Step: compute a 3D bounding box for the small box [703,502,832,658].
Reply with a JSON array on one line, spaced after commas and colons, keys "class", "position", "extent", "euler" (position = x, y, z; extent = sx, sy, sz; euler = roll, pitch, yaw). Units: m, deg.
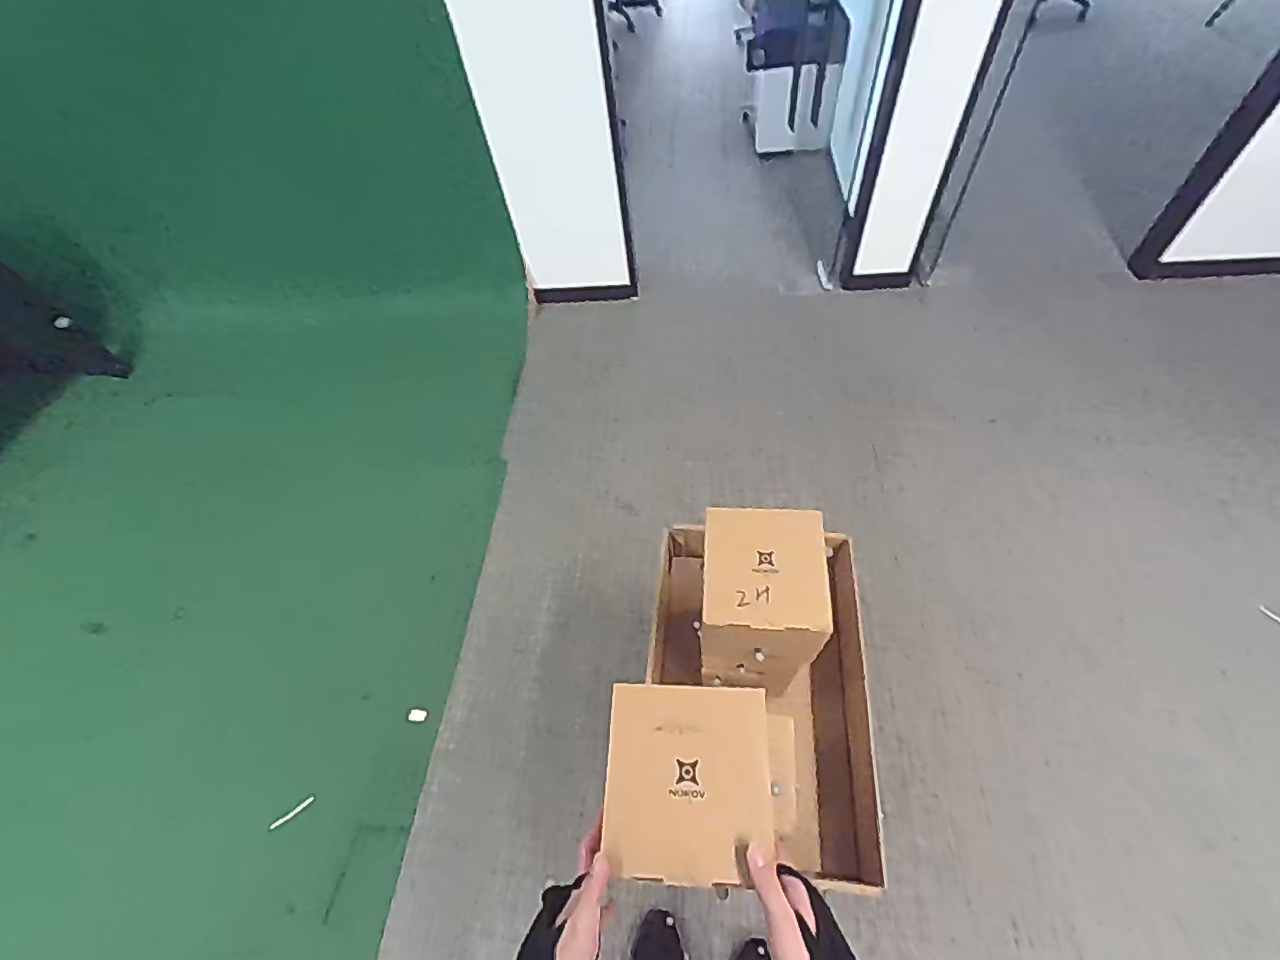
[{"class": "small box", "position": [0.178, 0.150, 0.802], "extent": [0.168, 0.176, 0.179], "euler": [1, 59, 8]}]

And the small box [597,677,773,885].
[{"class": "small box", "position": [0.052, 0.331, 0.604], "extent": [0.168, 0.176, 0.179], "euler": [0, 58, 6]}]

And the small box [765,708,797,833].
[{"class": "small box", "position": [0.183, 0.507, 0.950], "extent": [0.168, 0.176, 0.179], "euler": [3, 55, 9]}]

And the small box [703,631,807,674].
[{"class": "small box", "position": [0.198, 0.226, 0.948], "extent": [0.168, 0.176, 0.179], "euler": [3, 59, 9]}]
